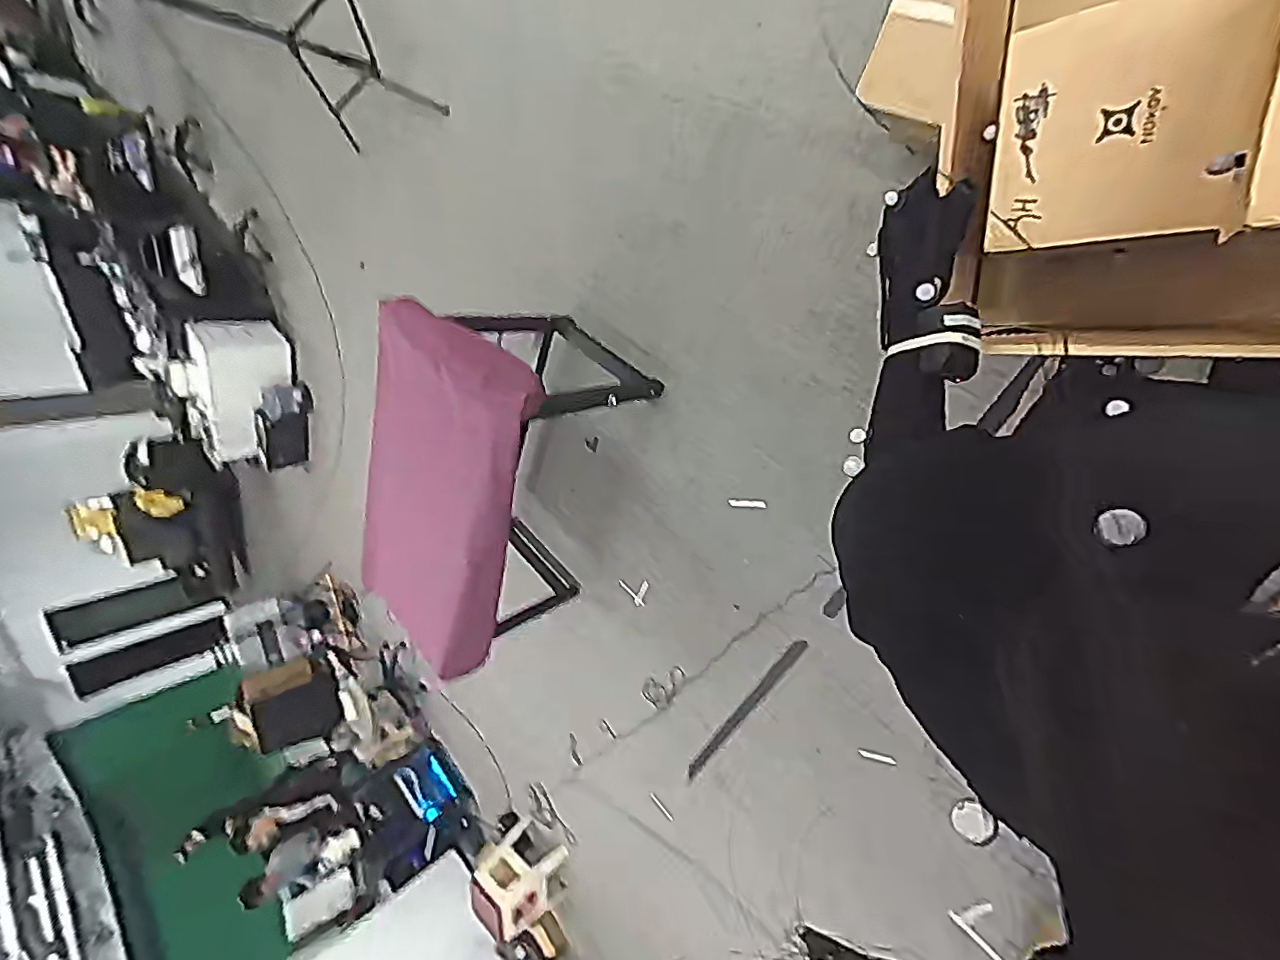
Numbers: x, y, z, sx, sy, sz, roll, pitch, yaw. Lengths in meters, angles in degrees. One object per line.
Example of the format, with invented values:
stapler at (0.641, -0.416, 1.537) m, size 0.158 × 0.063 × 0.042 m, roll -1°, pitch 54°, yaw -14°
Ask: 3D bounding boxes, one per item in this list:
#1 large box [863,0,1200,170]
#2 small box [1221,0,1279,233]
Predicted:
large box at (0.713, -0.819, 1.002) m, size 0.408 × 0.320 × 0.320 m, roll 39°, pitch 128°, yaw 27°
small box at (0.398, -0.218, 0.245) m, size 0.168 × 0.176 × 0.179 m, roll 9°, pitch 111°, yaw 43°
